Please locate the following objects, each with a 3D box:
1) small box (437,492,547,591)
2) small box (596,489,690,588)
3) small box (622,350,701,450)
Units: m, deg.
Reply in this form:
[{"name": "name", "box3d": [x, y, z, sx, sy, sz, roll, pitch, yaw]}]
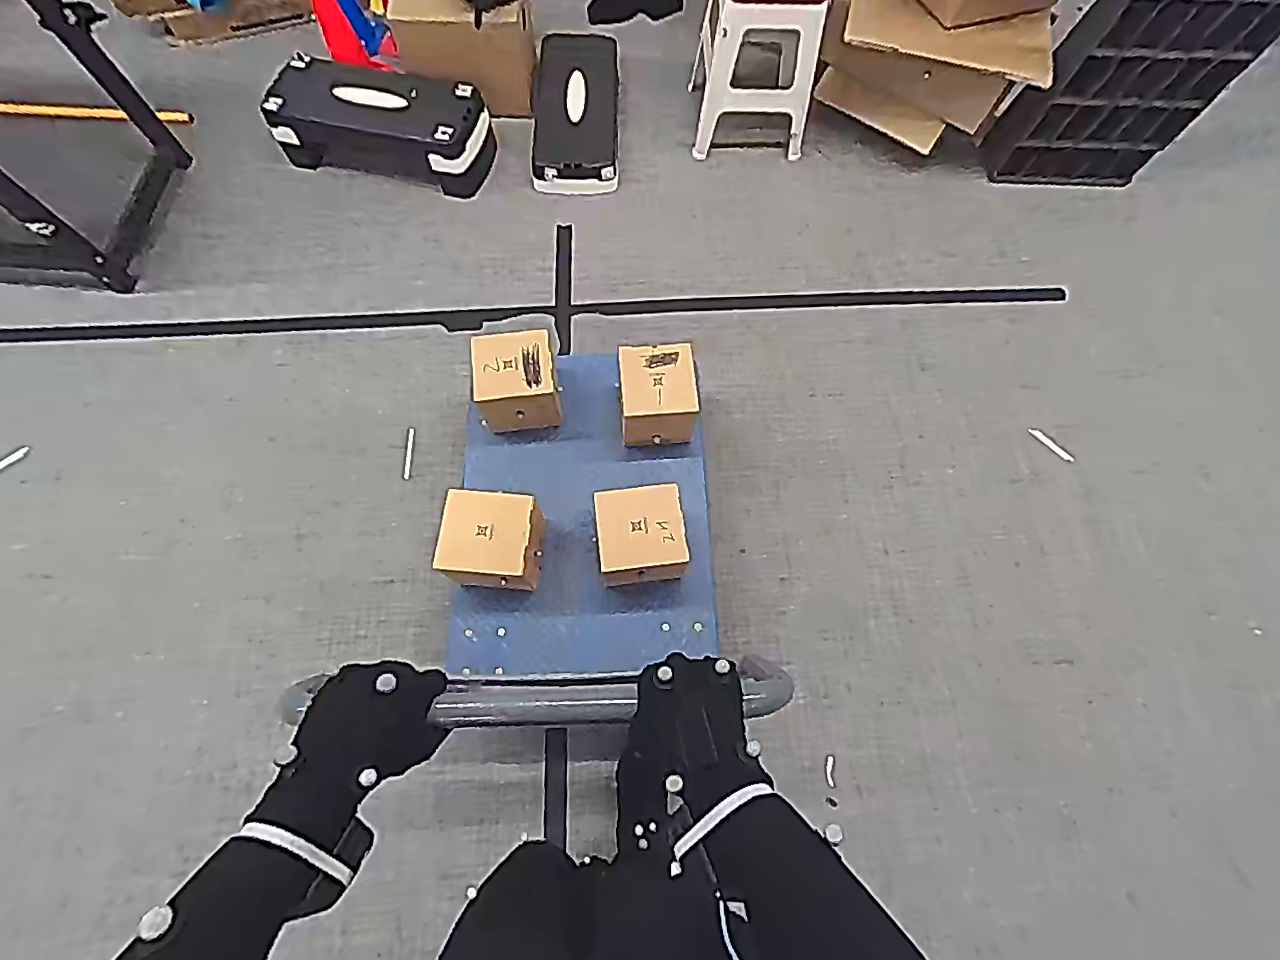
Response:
[{"name": "small box", "box3d": [-0.303, 0.135, 1.146, 0.179, 0.176, 0.168, 5, 69, -1]}, {"name": "small box", "box3d": [0.004, 0.129, 1.155, 0.179, 0.176, 0.168, -6, 70, -3]}, {"name": "small box", "box3d": [0.044, -0.185, 1.272, 0.168, 0.176, 0.179, -4, 71, -3]}]
